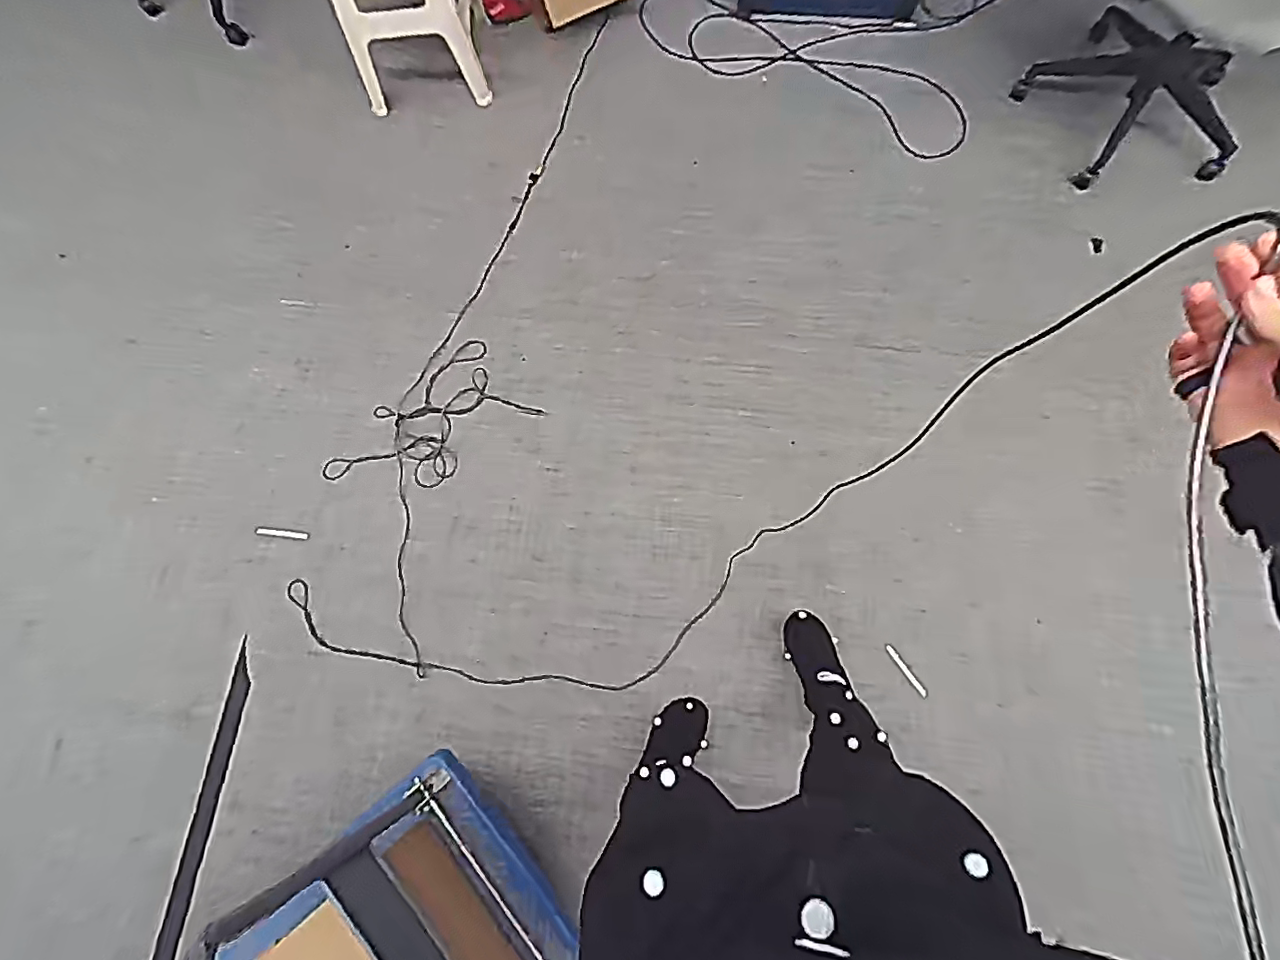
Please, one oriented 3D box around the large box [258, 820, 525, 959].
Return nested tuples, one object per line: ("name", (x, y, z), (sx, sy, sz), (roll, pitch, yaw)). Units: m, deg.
("large box", (-0.415, 0.877, 0.879), (0.320, 0.320, 0.408), (-40, 77, -9))
